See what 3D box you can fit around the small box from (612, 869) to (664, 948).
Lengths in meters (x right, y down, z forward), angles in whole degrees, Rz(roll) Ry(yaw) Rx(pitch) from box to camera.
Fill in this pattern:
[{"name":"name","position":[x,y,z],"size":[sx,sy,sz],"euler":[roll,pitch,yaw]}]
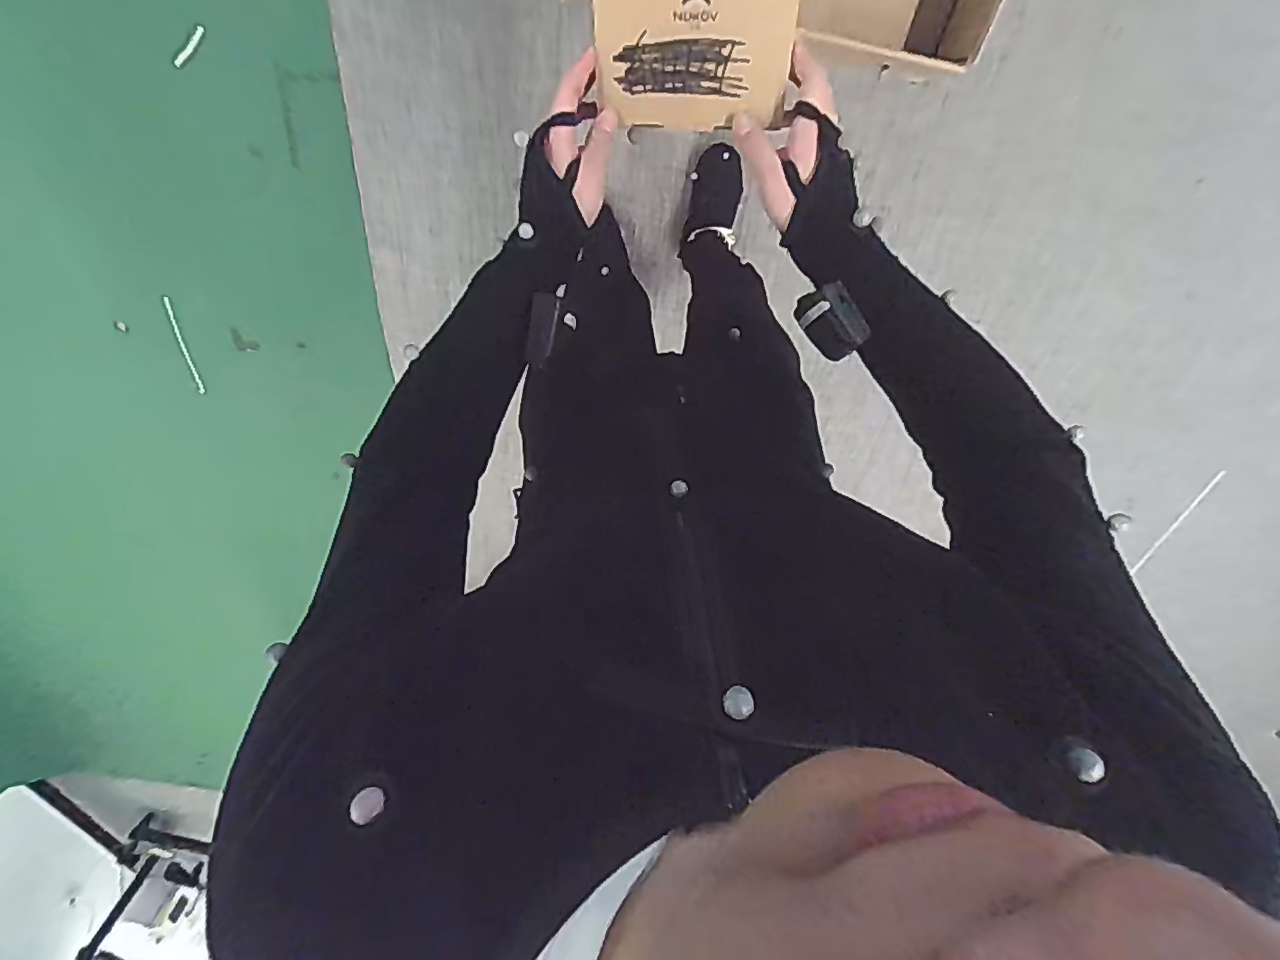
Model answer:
[{"name":"small box","position":[-0.006,1.471,1.859],"size":[0.168,0.176,0.179],"euler":[5,126,4]}]
